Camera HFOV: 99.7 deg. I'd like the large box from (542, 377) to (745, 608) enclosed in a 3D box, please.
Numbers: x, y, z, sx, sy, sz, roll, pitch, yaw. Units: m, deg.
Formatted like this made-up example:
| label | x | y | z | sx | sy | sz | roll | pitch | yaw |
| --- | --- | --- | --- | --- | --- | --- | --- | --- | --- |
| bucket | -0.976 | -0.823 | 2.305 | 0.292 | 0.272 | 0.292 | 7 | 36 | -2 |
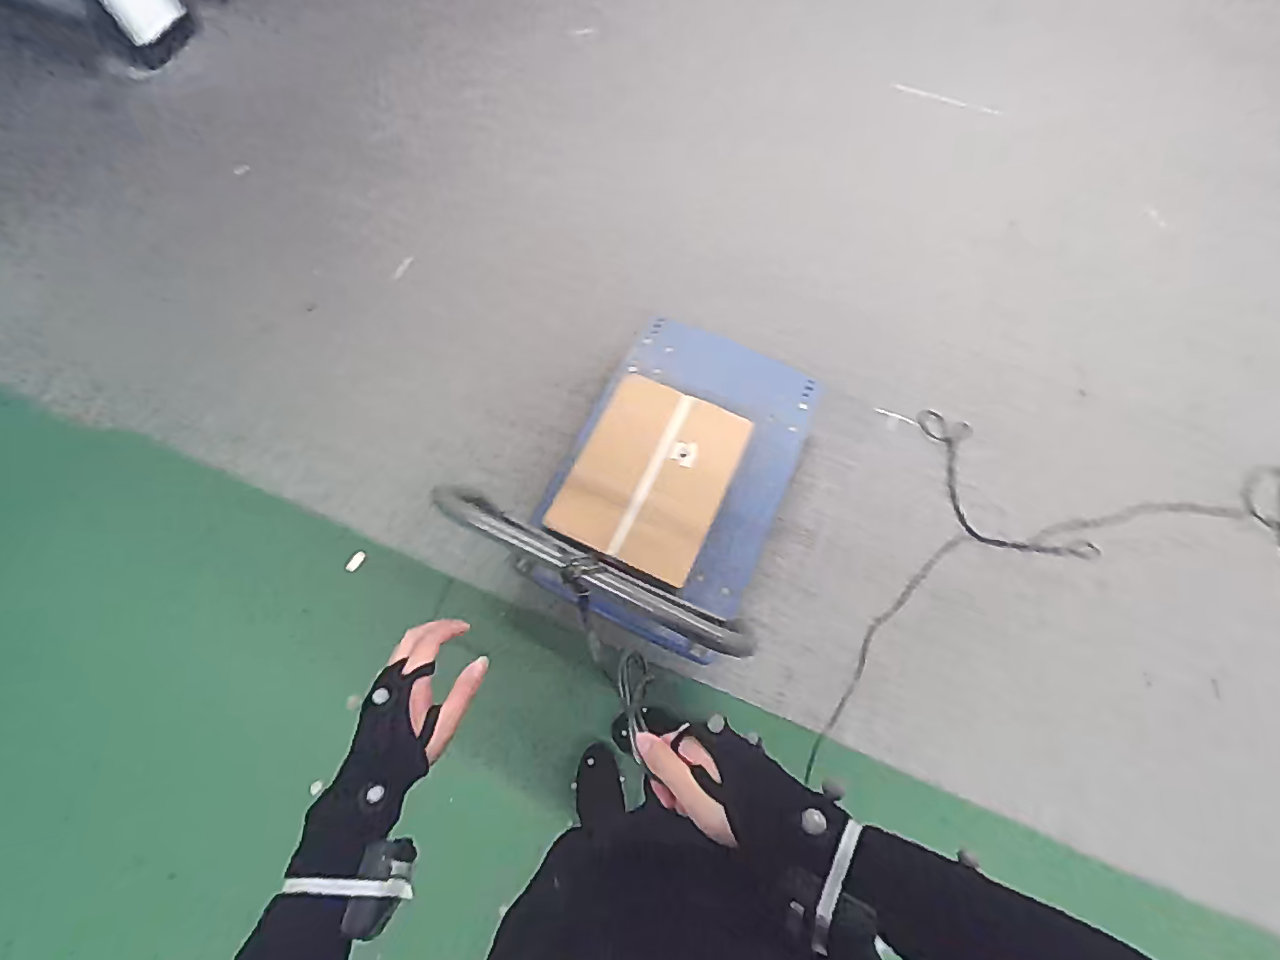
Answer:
| label | x | y | z | sx | sy | sz | roll | pitch | yaw |
| --- | --- | --- | --- | --- | --- | --- | --- | --- | --- |
| large box | 0.012 | 0.044 | 1.284 | 0.320 | 0.320 | 0.408 | 24 | 70 | 7 |
